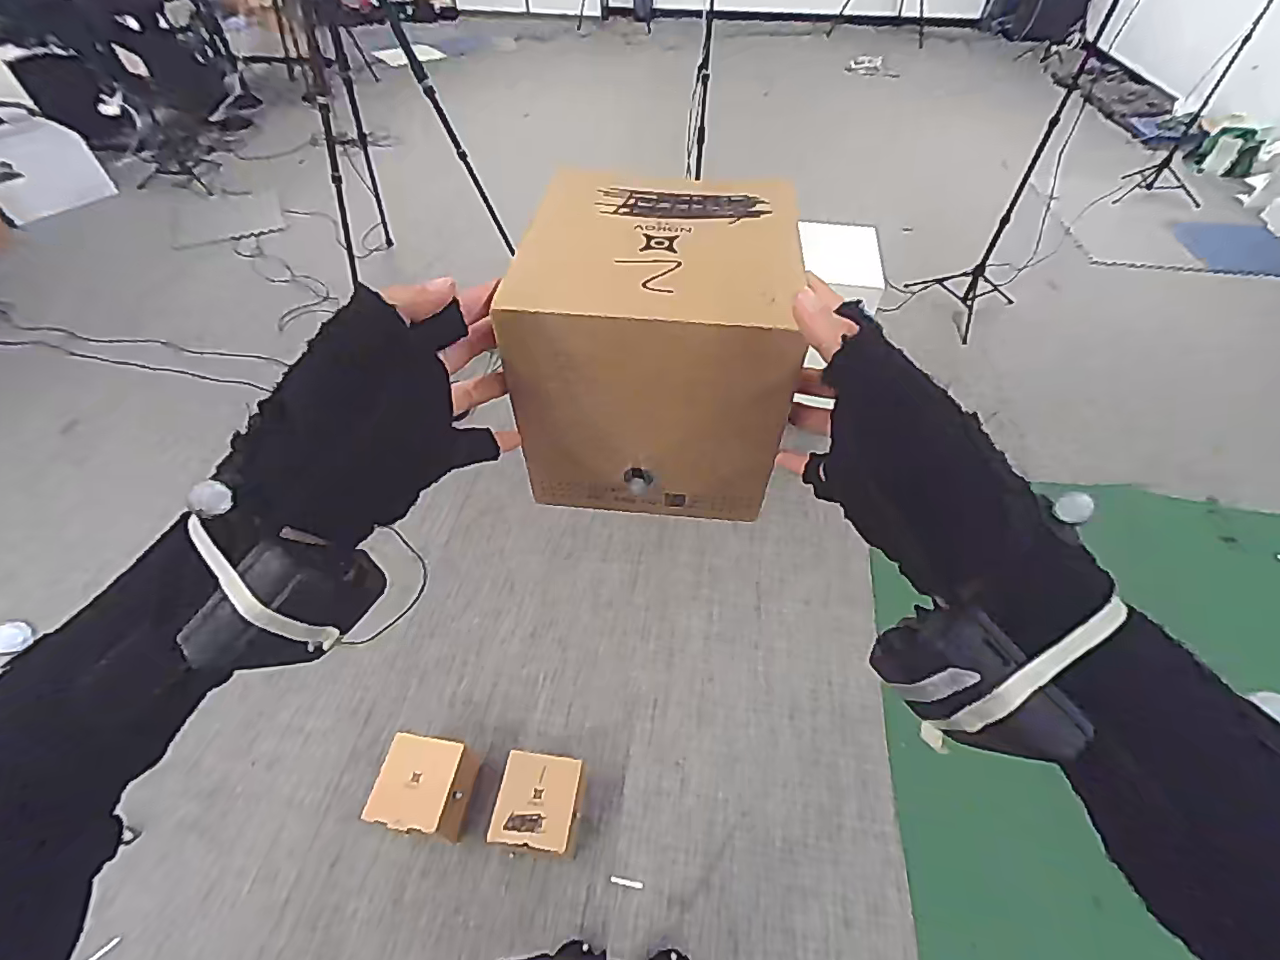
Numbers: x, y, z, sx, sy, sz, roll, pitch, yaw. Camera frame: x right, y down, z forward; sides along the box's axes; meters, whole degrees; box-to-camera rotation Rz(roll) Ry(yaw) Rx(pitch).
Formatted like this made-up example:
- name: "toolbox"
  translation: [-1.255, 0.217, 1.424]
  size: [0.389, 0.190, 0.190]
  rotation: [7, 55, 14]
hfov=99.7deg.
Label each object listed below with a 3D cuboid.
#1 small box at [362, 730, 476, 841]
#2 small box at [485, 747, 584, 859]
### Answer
- name: "small box"
  translation: [-0.488, 0.697, 1.231]
  size: [0.168, 0.176, 0.179]
  rotation: [6, 50, 6]
- name: "small box"
  translation: [-0.224, 0.723, 1.206]
  size: [0.168, 0.176, 0.179]
  rotation: [6, 49, 6]
